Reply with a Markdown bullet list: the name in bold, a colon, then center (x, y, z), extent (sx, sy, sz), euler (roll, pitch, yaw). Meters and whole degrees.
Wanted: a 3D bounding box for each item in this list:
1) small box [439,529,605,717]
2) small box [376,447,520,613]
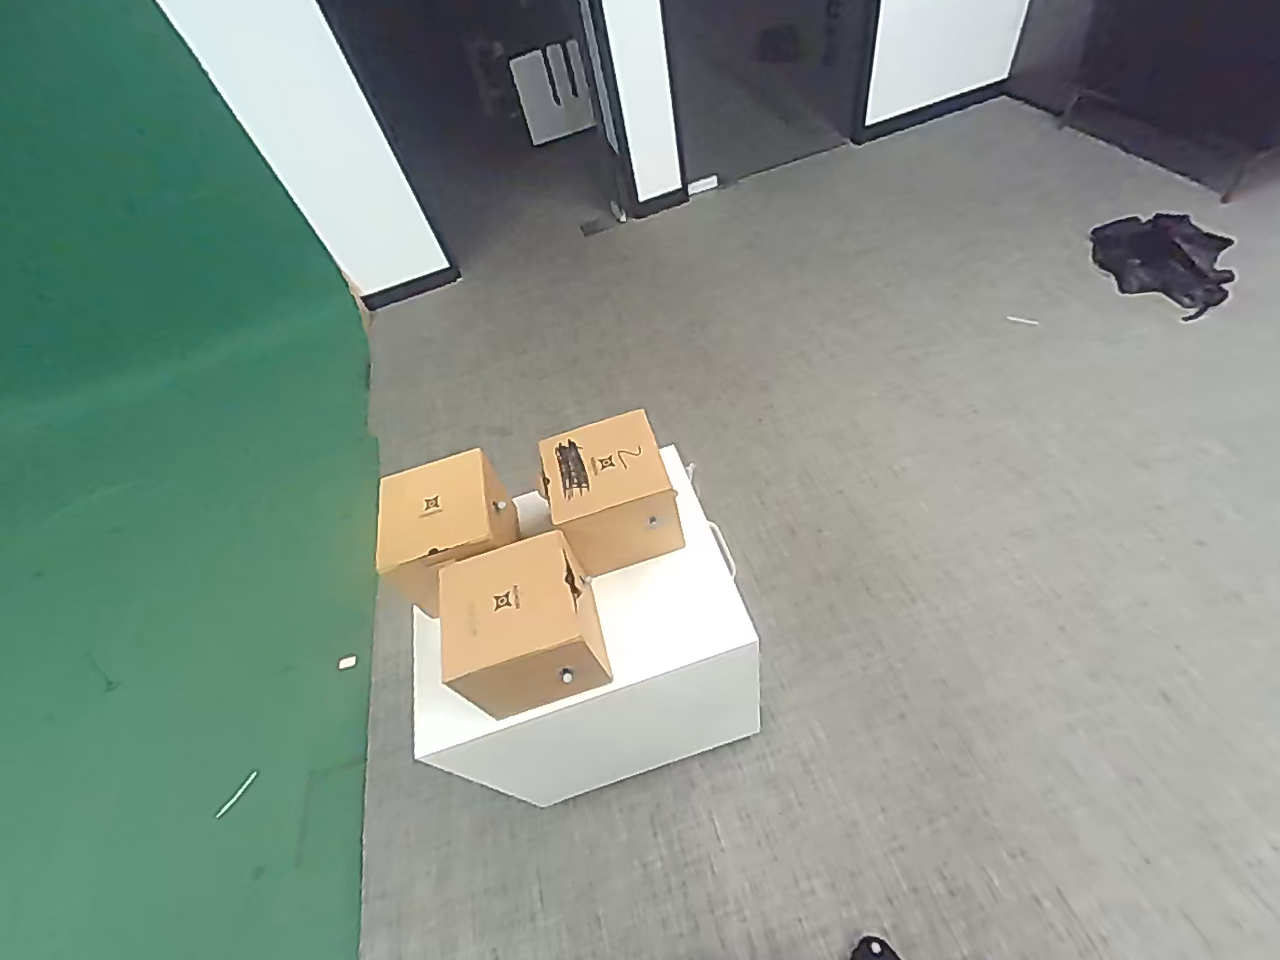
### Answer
- **small box**: center (-0.154, 0.199, 0.741), extent (0.179, 0.176, 0.168), euler (-19, 50, -1)
- **small box**: center (-0.294, 0.082, 0.860), extent (0.168, 0.176, 0.179), euler (-17, 53, -2)
